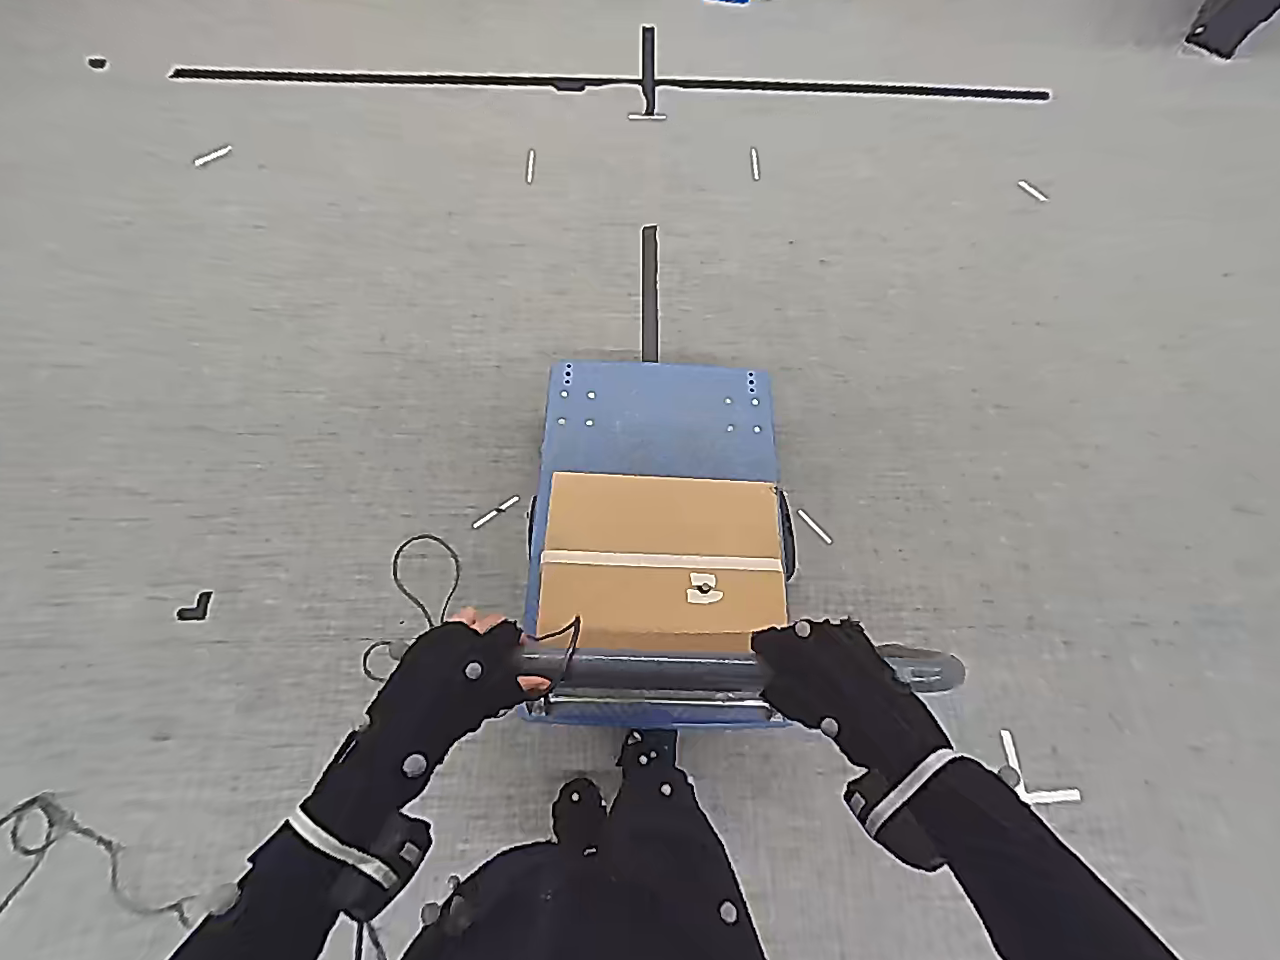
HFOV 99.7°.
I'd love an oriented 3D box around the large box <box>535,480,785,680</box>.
[{"bbox_3d":[0.025,0.208,1.041,0.408,0.320,0.320,3,66,-3],"label":"large box"}]
